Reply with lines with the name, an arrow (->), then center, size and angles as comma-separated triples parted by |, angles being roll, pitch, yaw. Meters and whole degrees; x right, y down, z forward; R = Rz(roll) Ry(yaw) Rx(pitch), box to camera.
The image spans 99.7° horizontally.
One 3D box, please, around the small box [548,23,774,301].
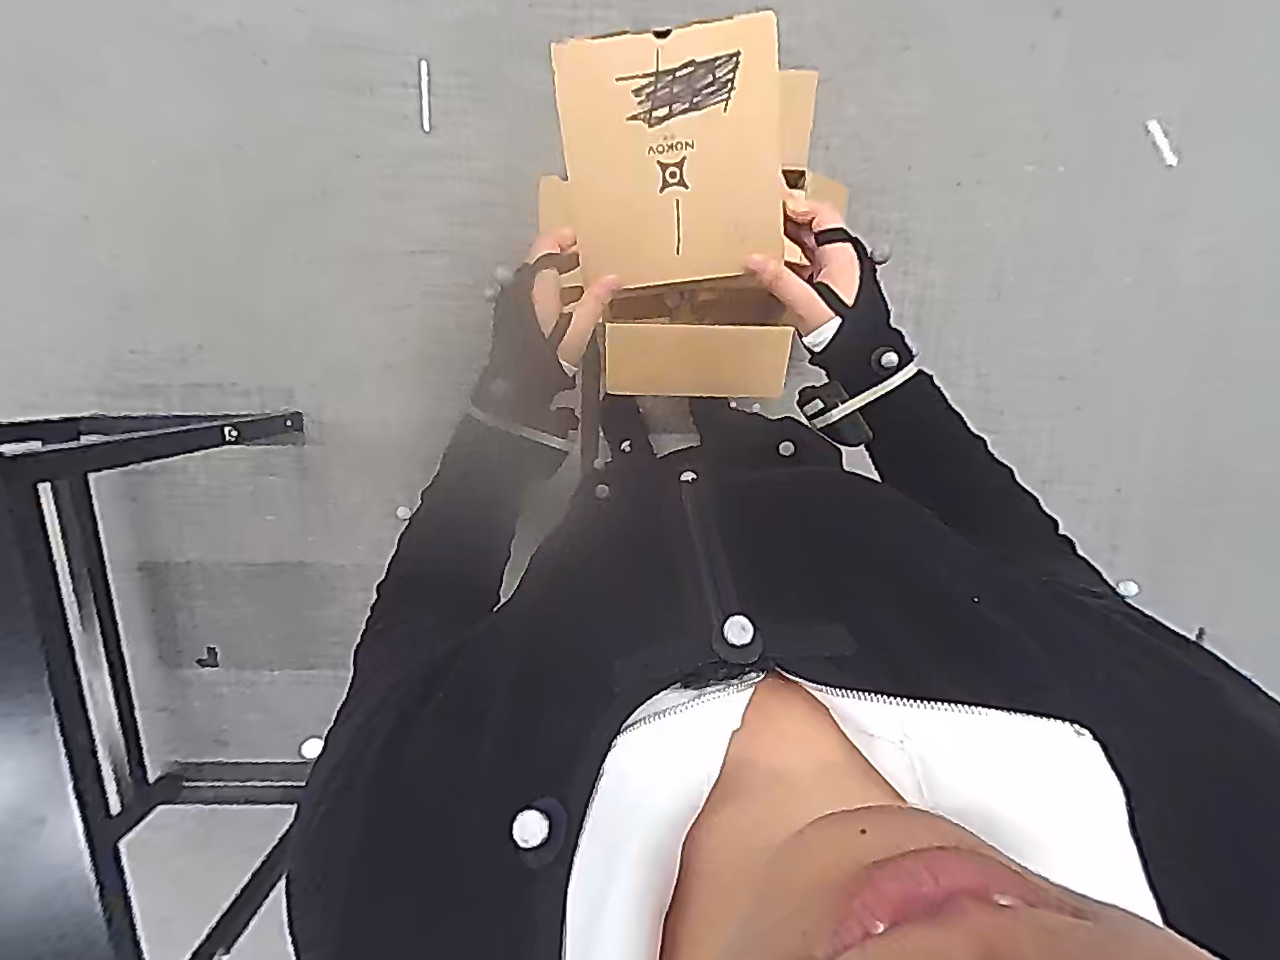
small box -> 0.021, -0.266, 0.497 | 0.168, 0.176, 0.179 | -6, 107, 3
